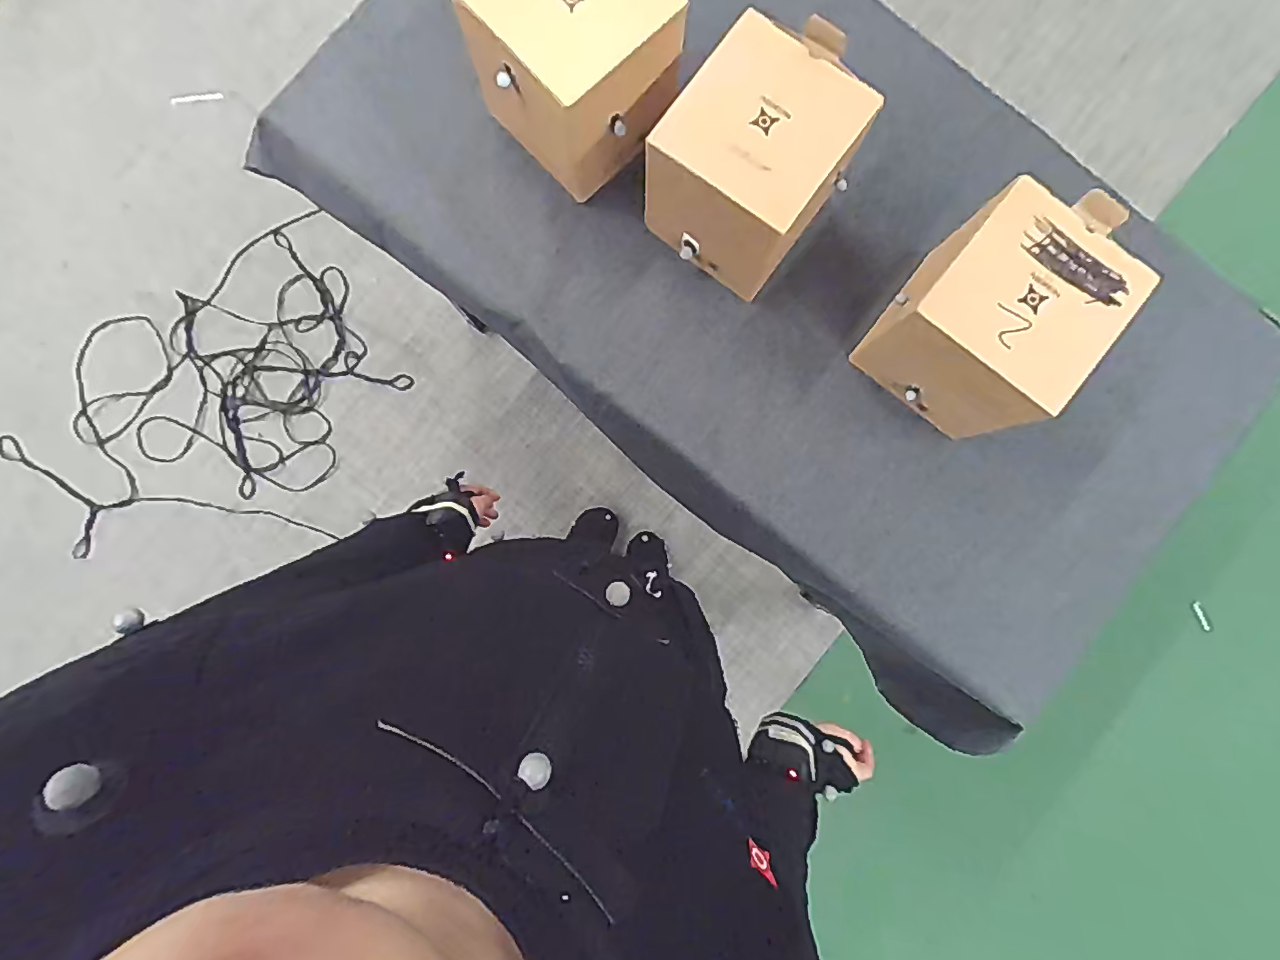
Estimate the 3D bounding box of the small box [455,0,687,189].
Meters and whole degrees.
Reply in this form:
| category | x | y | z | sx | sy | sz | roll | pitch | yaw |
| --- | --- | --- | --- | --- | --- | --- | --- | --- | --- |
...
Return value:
| category | x | y | z | sx | sy | sz | roll | pitch | yaw |
| --- | --- | --- | --- | --- | --- | --- | --- | --- | --- |
| small box | -0.070 | -0.468 | 0.608 | 0.168 | 0.176 | 0.179 | -44 | 87 | -4 |

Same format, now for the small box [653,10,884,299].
| category | x | y | z | sx | sy | sz | roll | pitch | yaw |
| --- | --- | --- | --- | --- | --- | --- | --- | --- | --- |
| small box | 0.124 | -0.342 | 0.603 | 0.168 | 0.176 | 0.179 | 35 | 86 | 3 |
